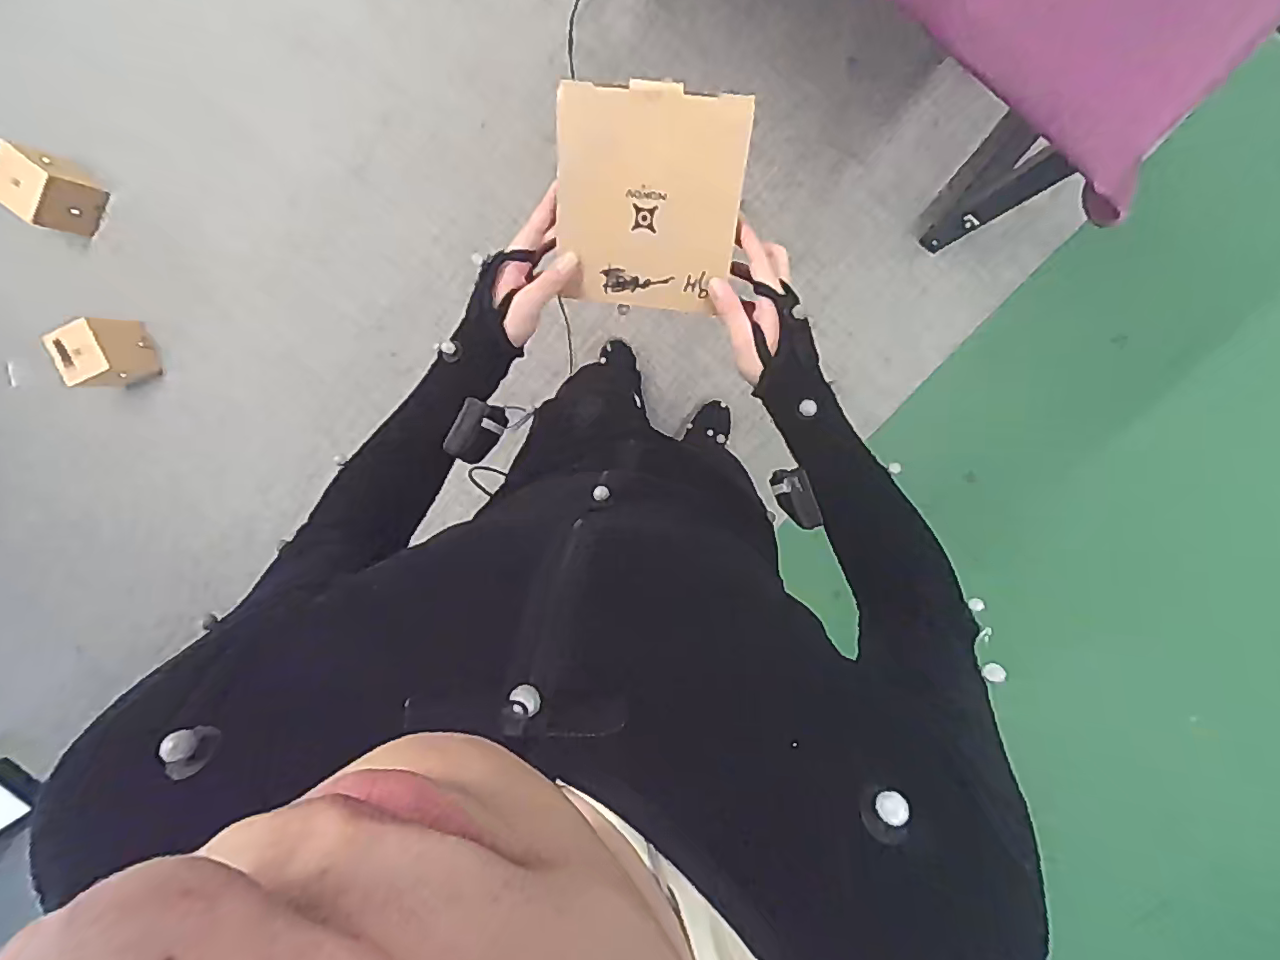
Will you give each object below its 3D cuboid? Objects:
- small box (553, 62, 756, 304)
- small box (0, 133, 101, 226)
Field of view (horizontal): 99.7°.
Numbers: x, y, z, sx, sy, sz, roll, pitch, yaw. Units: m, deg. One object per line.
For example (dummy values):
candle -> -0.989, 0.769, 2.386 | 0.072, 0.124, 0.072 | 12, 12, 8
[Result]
small box -> 0.014, -0.294, 0.546 | 0.168, 0.176, 0.179 | 8, 122, 4
small box -> -1.793, -0.892, 1.621 | 0.179, 0.176, 0.168 | 37, 103, -1
